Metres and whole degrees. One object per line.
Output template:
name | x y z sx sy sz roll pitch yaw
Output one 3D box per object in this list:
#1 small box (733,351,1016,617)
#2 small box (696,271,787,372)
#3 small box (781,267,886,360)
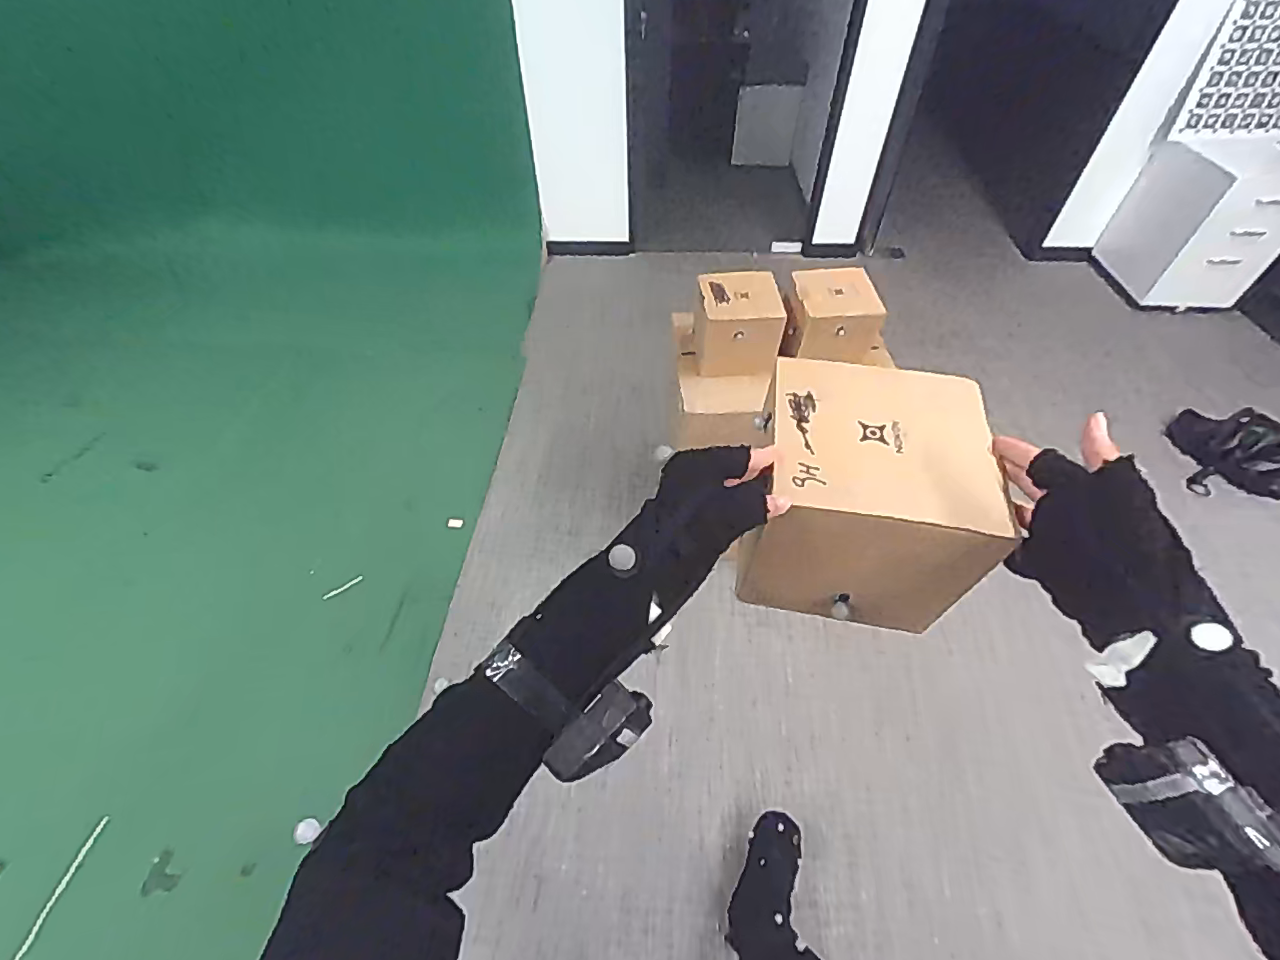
small box | 0.193 0.010 0.500 0.179 0.176 0.168 10 52 4
small box | 0.227 -0.367 1.266 0.179 0.176 0.168 -2 55 -3
small box | 0.440 -0.377 1.274 0.179 0.176 0.168 -3 56 -4
